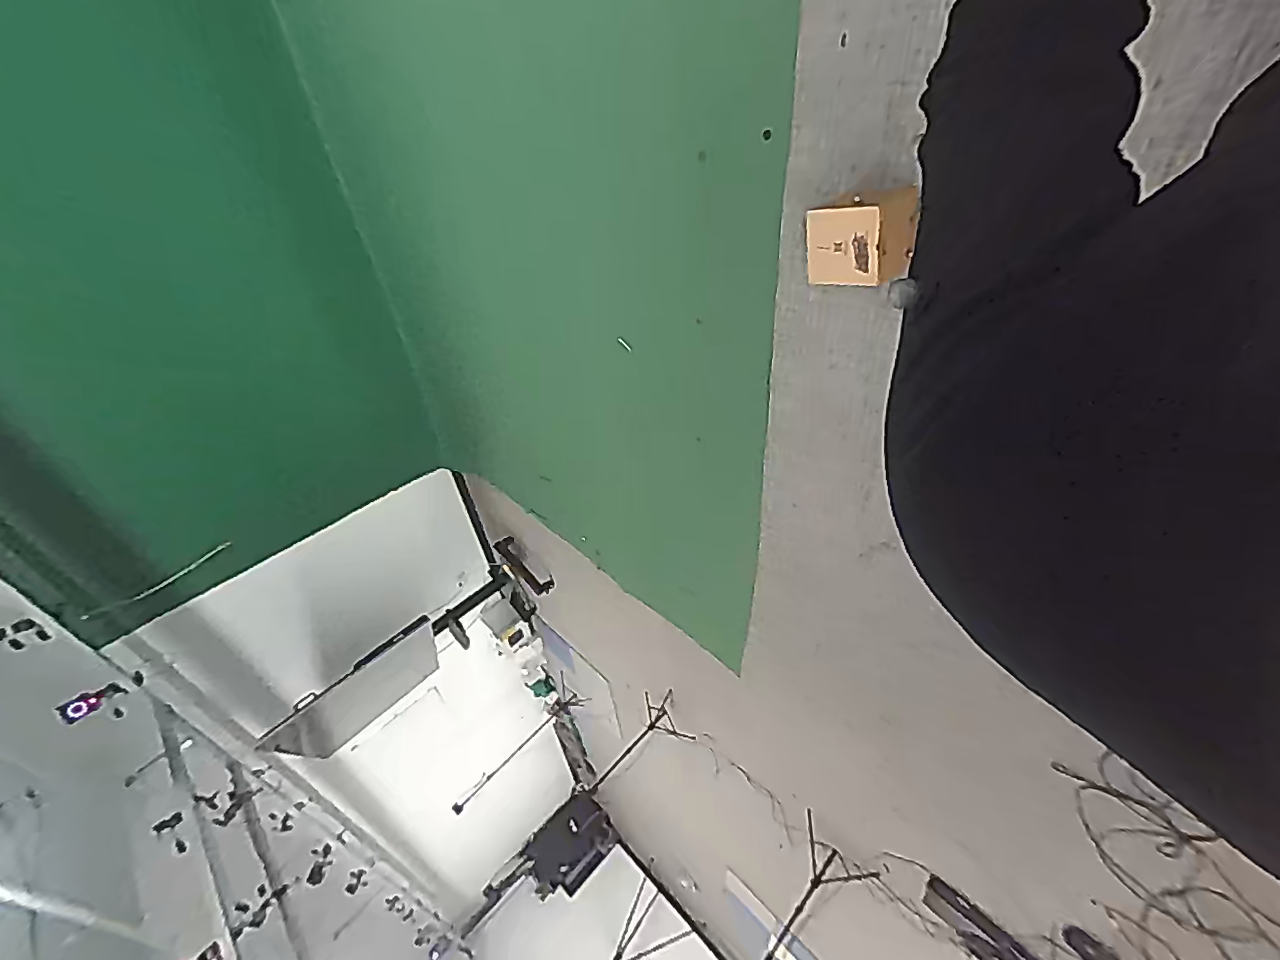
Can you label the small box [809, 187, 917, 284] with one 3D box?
[{"bbox_3d":[0.513,-0.563,1.244,0.179,0.176,0.168,23,137,43],"label":"small box"}]
